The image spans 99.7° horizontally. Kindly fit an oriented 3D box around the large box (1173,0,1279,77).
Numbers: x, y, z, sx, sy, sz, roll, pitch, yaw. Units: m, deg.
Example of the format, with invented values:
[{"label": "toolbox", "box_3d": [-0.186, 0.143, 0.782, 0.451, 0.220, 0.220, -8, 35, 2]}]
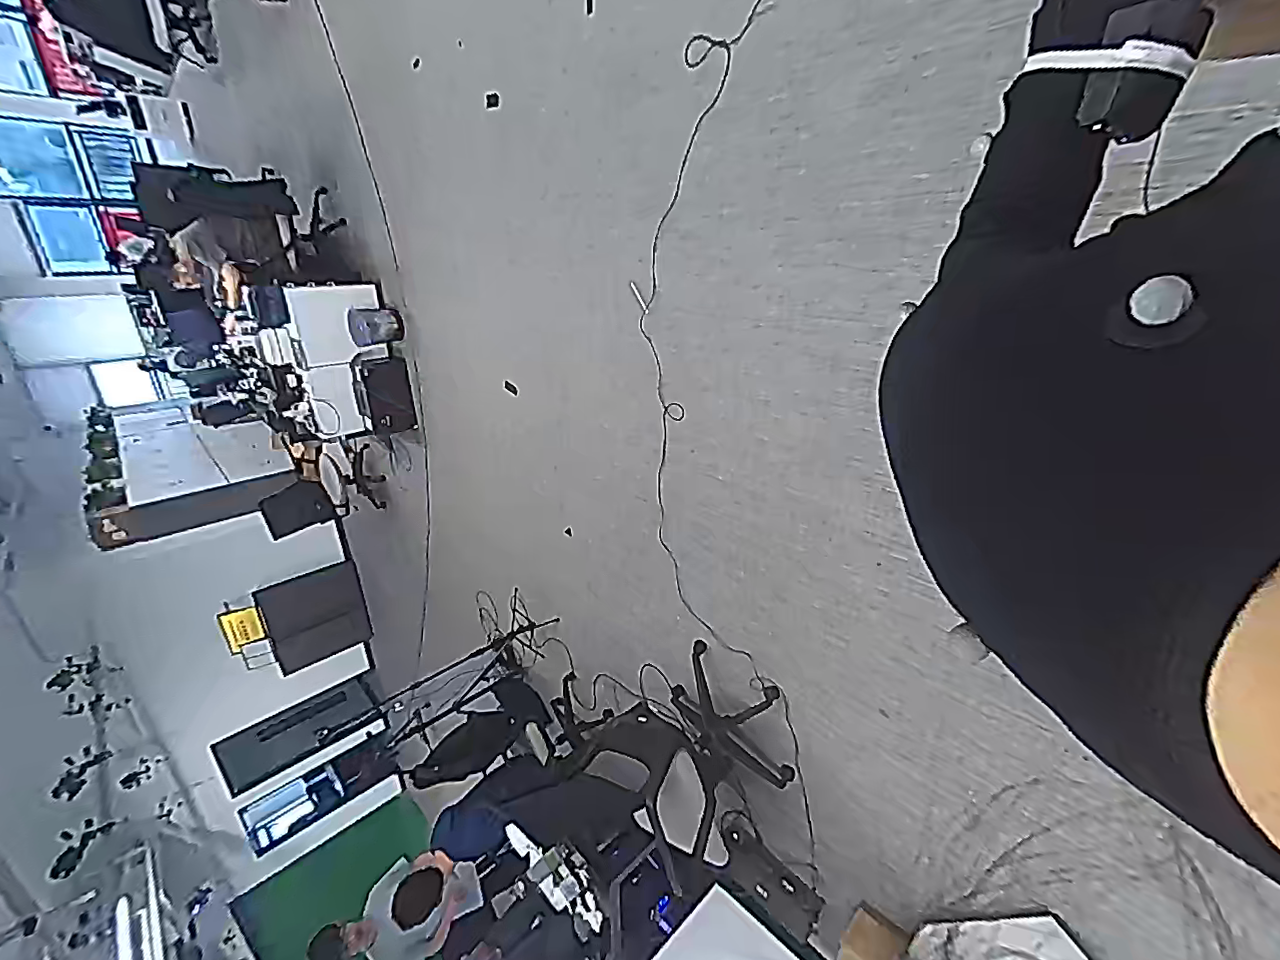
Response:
[{"label": "large box", "box_3d": [0.565, -0.413, 0.238, 0.408, 0.320, 0.320, 22, 128, 38]}]
